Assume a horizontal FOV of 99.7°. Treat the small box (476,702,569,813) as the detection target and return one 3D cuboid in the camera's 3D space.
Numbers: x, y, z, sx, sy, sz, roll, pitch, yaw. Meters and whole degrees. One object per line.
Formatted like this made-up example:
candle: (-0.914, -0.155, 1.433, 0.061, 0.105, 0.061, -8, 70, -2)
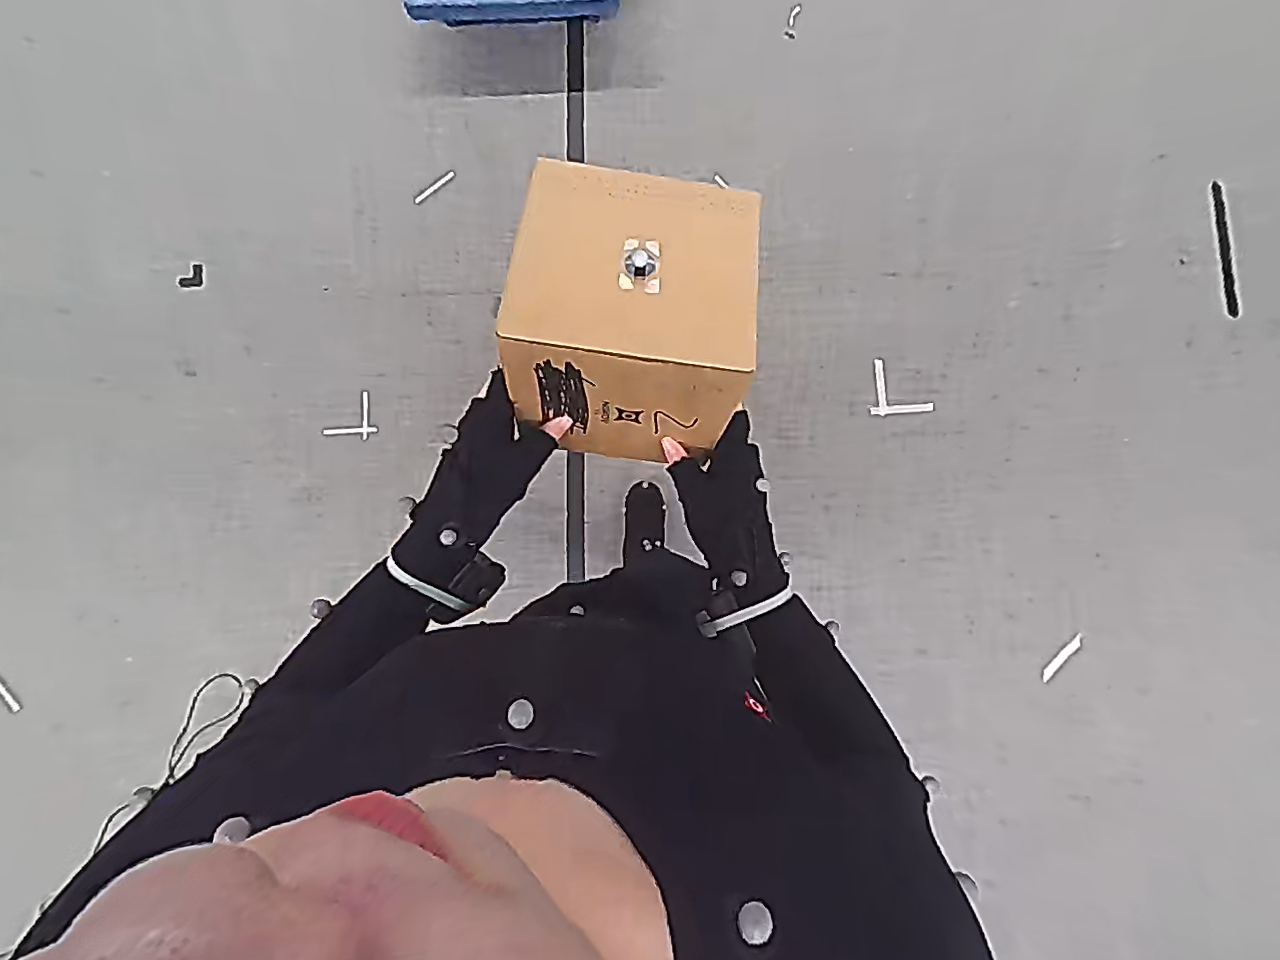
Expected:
small box: (-0.261, 0.618, 1.229, 0.168, 0.176, 0.179, -8, 85, 1)
